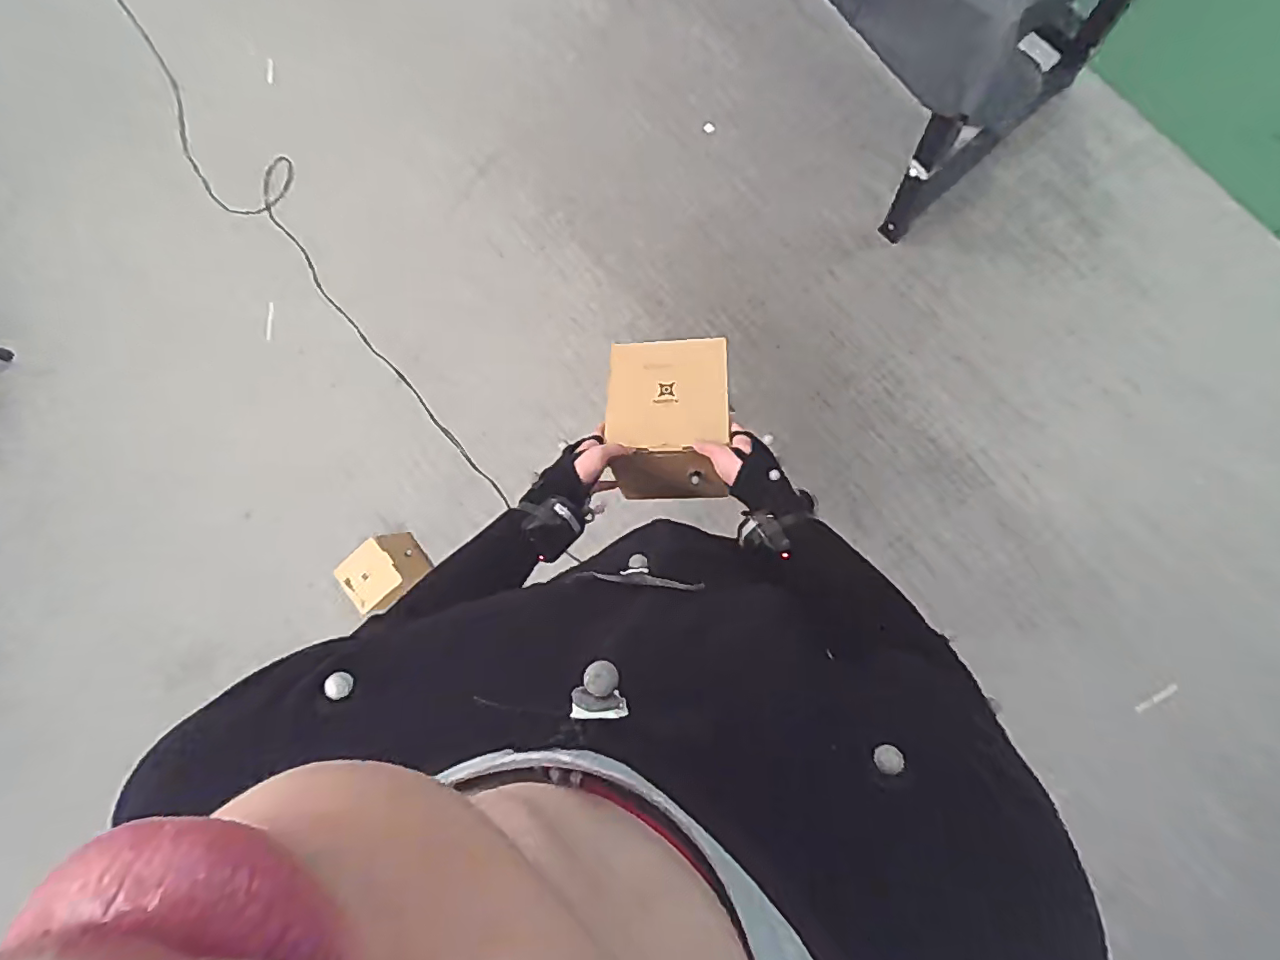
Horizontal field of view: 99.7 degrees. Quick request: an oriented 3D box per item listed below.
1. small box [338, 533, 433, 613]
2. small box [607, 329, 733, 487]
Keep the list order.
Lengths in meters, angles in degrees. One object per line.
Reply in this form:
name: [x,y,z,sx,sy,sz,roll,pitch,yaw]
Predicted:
small box: [-0.769,0.276,1.661,0.179,0.176,0.168,-39,81,8]
small box: [0.052,-0.096,0.801,0.168,0.176,0.179,-3,63,8]
